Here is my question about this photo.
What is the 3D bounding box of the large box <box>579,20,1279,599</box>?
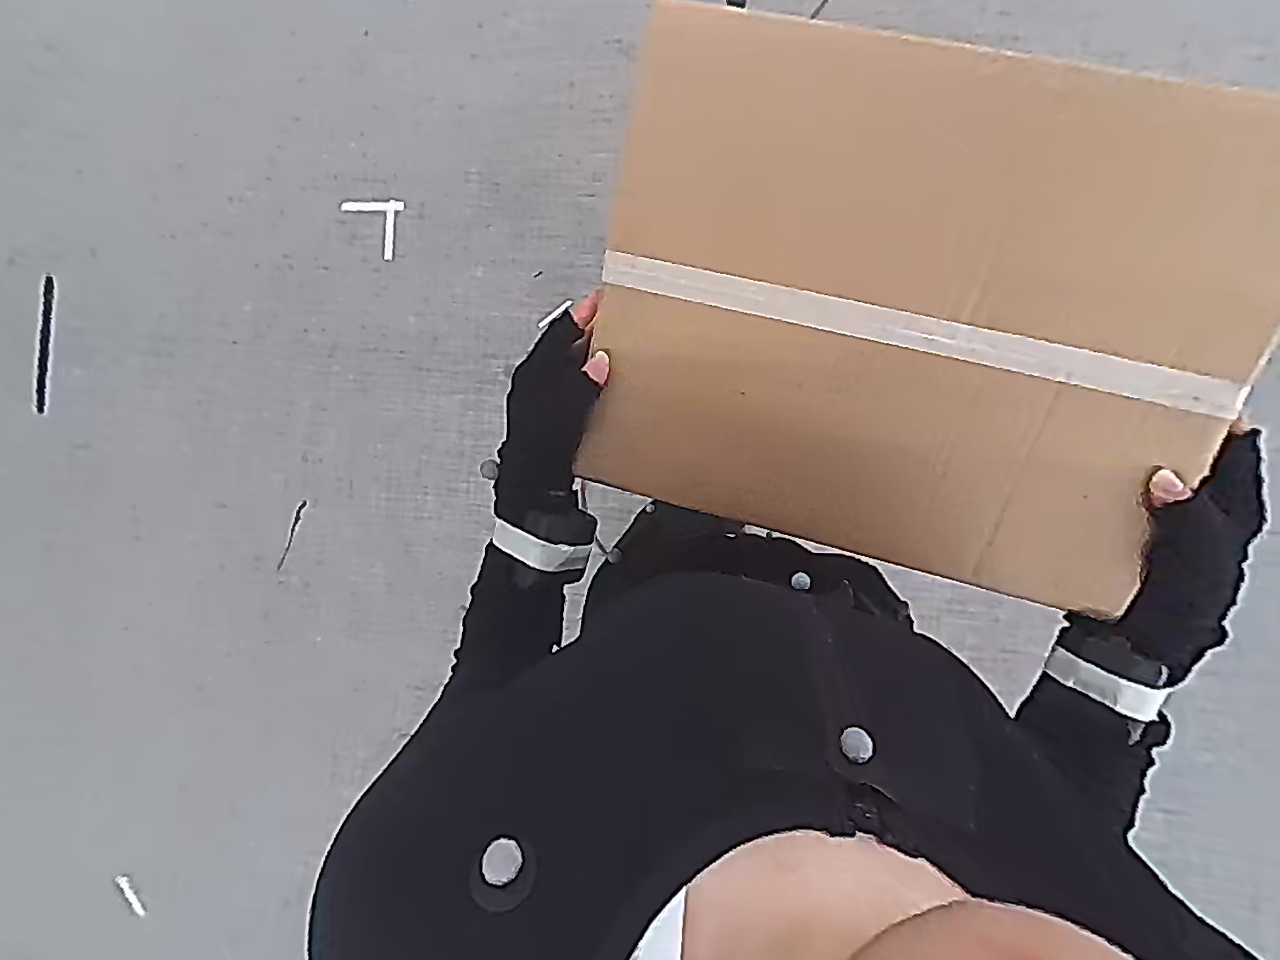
[{"bbox_3d":[0.195,-0.142,0.505,0.408,0.320,0.320,15,109,6],"label":"large box"}]
